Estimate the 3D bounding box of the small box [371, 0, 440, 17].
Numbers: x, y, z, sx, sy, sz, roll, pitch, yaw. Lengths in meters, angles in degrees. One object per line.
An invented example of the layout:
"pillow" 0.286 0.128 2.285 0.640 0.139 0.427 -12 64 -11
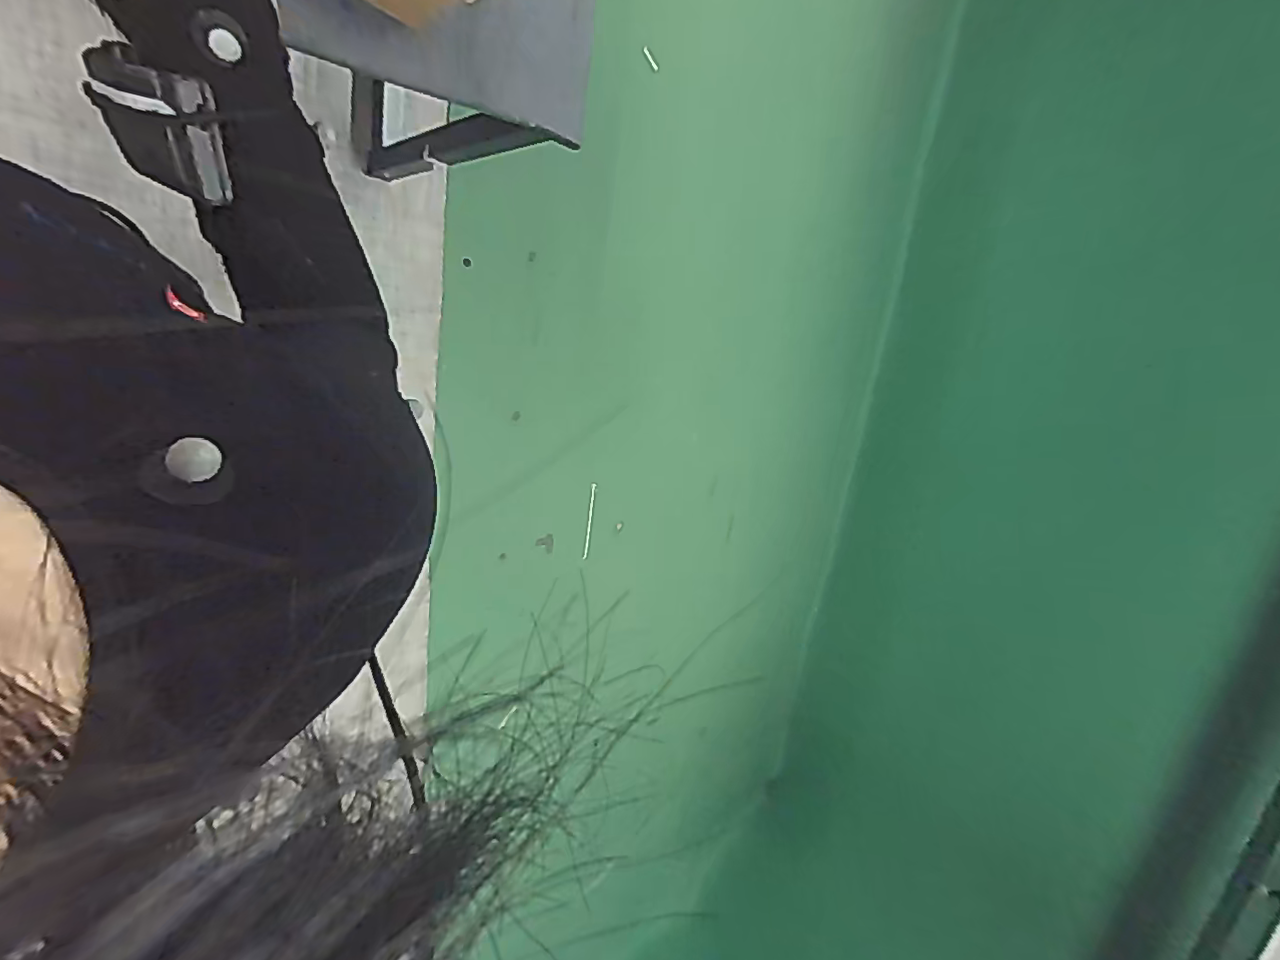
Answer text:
"small box" -0.262 -0.614 0.527 0.168 0.176 0.179 -4 108 -46
